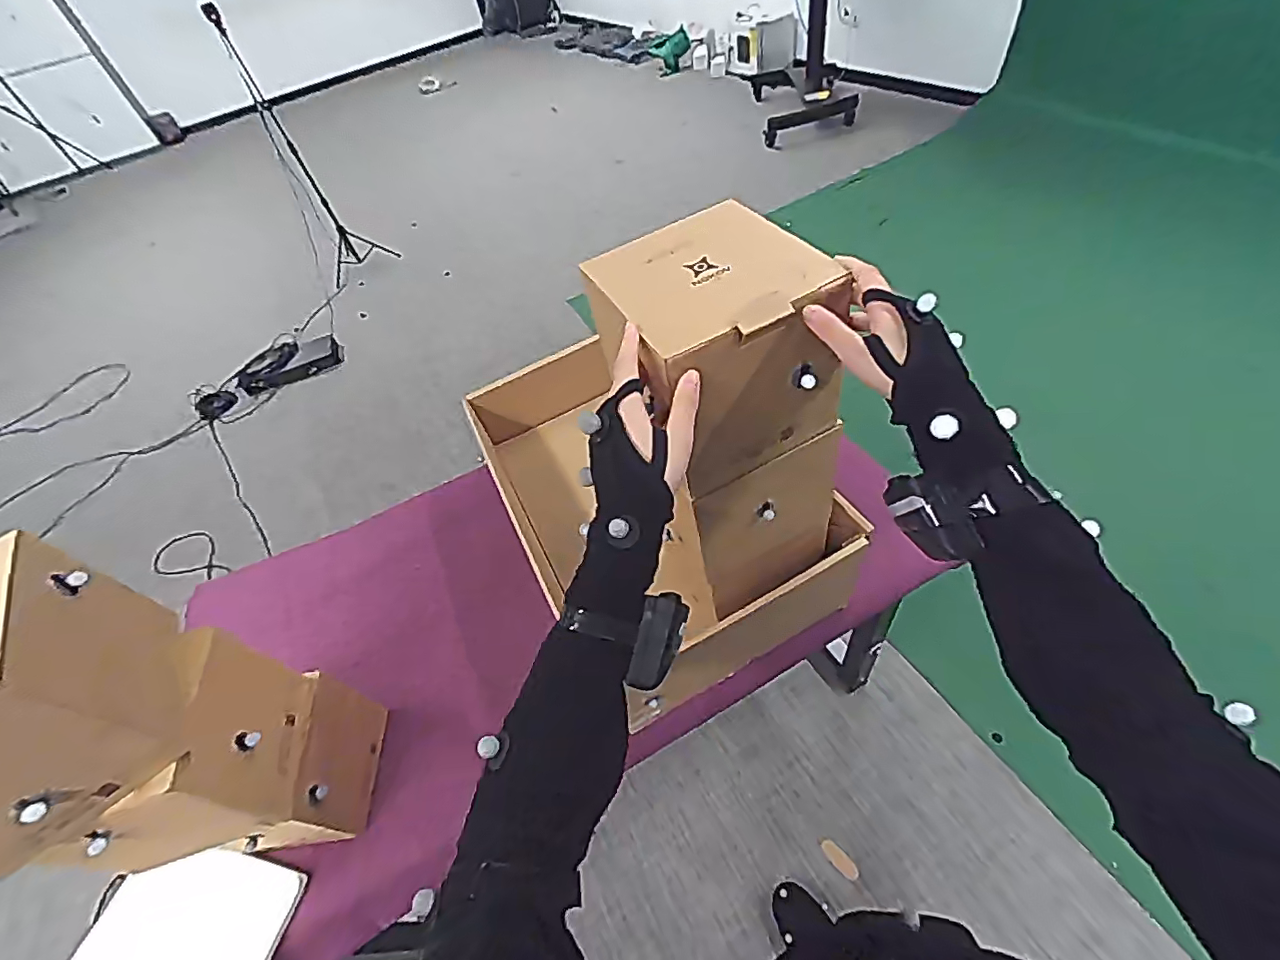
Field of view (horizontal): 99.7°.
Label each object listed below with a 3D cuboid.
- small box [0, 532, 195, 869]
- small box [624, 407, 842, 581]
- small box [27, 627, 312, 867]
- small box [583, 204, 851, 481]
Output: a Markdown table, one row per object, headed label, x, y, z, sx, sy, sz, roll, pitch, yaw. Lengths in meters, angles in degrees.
| label | x | y | z | sx | sy | sz | roll | pitch | yaw |
| --- | --- | --- | --- | --- | --- | --- | --- | --- | --- |
| small box | -0.522 | 0.184 | 0.452 | 0.168 | 0.176 | 0.179 | -35 | 52 | -16 |
| small box | 0.105 | -0.016 | 0.629 | 0.179 | 0.176 | 0.168 | -27 | 50 | -7 |
| small box | -0.488 | 0.287 | 0.576 | 0.179 | 0.176 | 0.168 | -18 | 49 | -2 |
| small box | 0.069 | -0.121 | 0.510 | 0.168 | 0.176 | 0.179 | -26 | 49 | -9 |
